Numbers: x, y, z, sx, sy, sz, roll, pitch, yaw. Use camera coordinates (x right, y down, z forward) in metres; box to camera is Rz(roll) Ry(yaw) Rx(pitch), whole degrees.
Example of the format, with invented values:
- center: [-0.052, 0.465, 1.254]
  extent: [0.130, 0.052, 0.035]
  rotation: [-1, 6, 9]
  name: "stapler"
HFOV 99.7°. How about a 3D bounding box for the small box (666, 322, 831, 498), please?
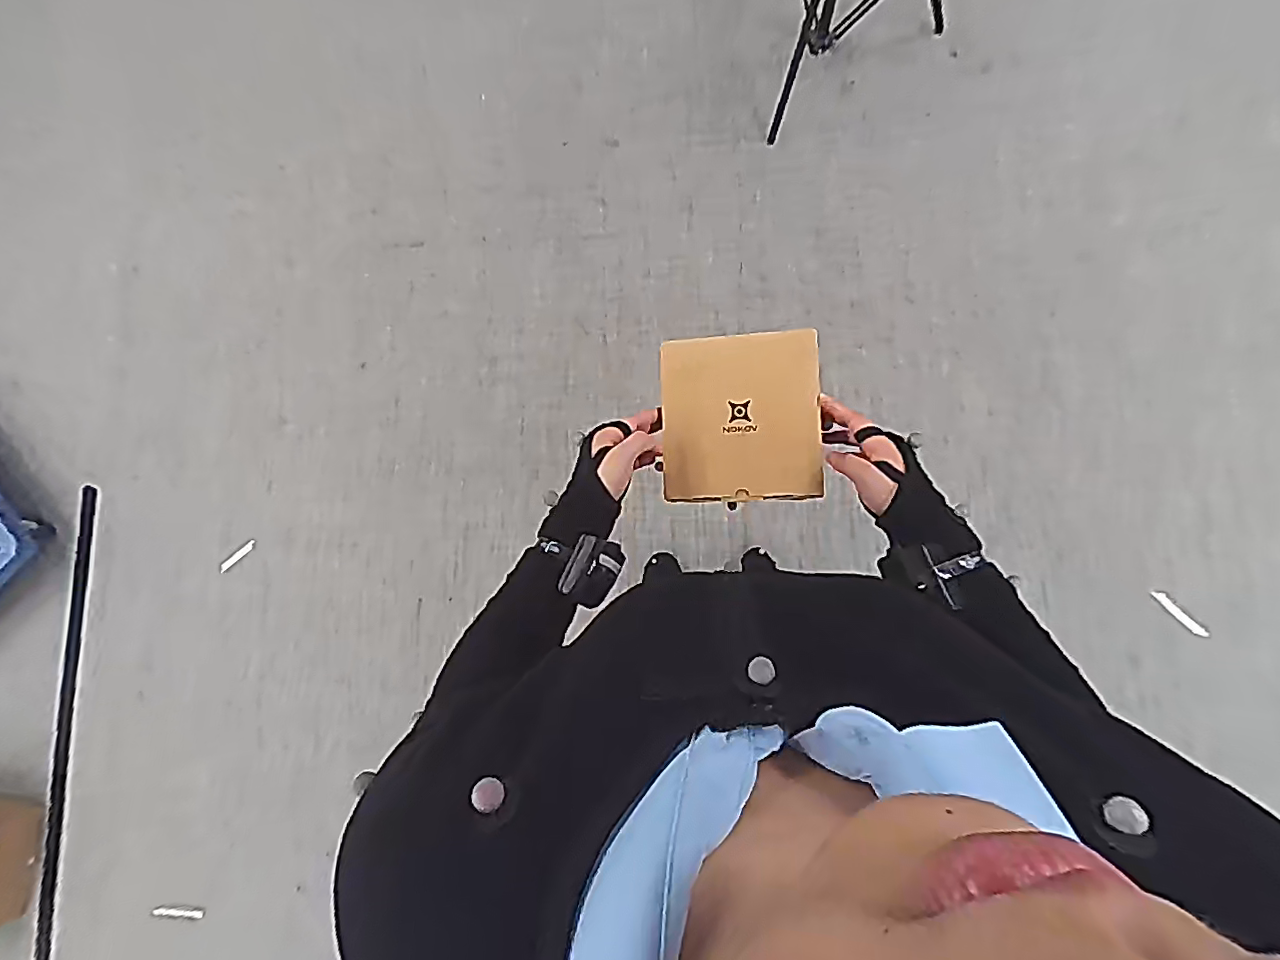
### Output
- center: [0.122, -0.069, 0.634]
  extent: [0.168, 0.176, 0.179]
  rotation: [-2, 89, 10]
  name: "small box"
